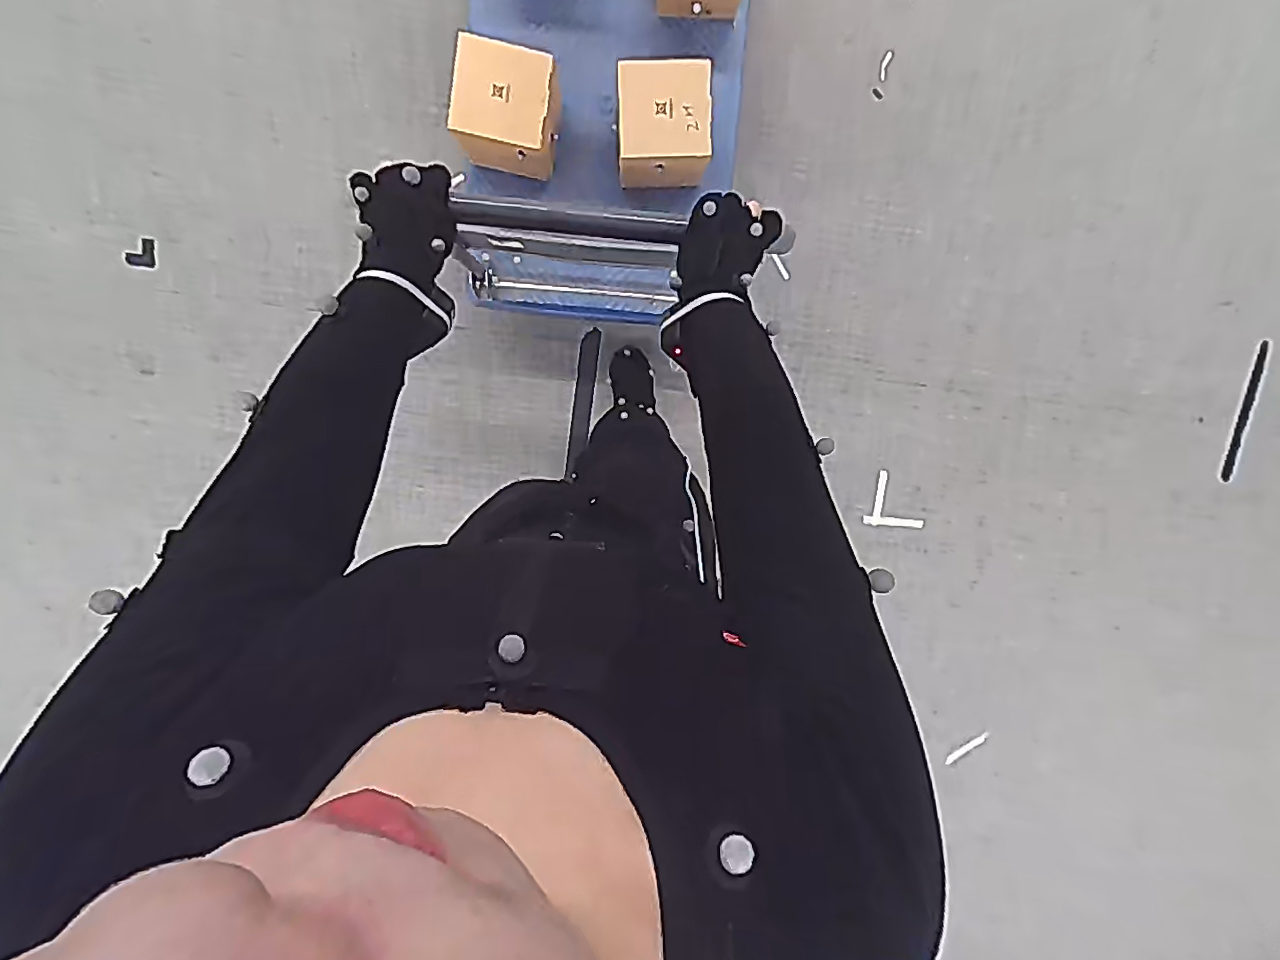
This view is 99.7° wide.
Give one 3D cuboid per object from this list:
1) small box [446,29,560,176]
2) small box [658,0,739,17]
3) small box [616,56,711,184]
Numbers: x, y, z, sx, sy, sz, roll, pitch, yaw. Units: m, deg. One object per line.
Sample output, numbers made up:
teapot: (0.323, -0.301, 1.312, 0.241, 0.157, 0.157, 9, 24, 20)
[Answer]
small box: (-0.261, -0.728, 1.064, 0.179, 0.176, 0.168, 10, 100, -6)
small box: (0.121, -1.029, 1.018, 0.168, 0.176, 0.179, 0, 102, -2)
small box: (0.043, -0.707, 1.079, 0.179, 0.176, 0.168, -2, 102, -2)
